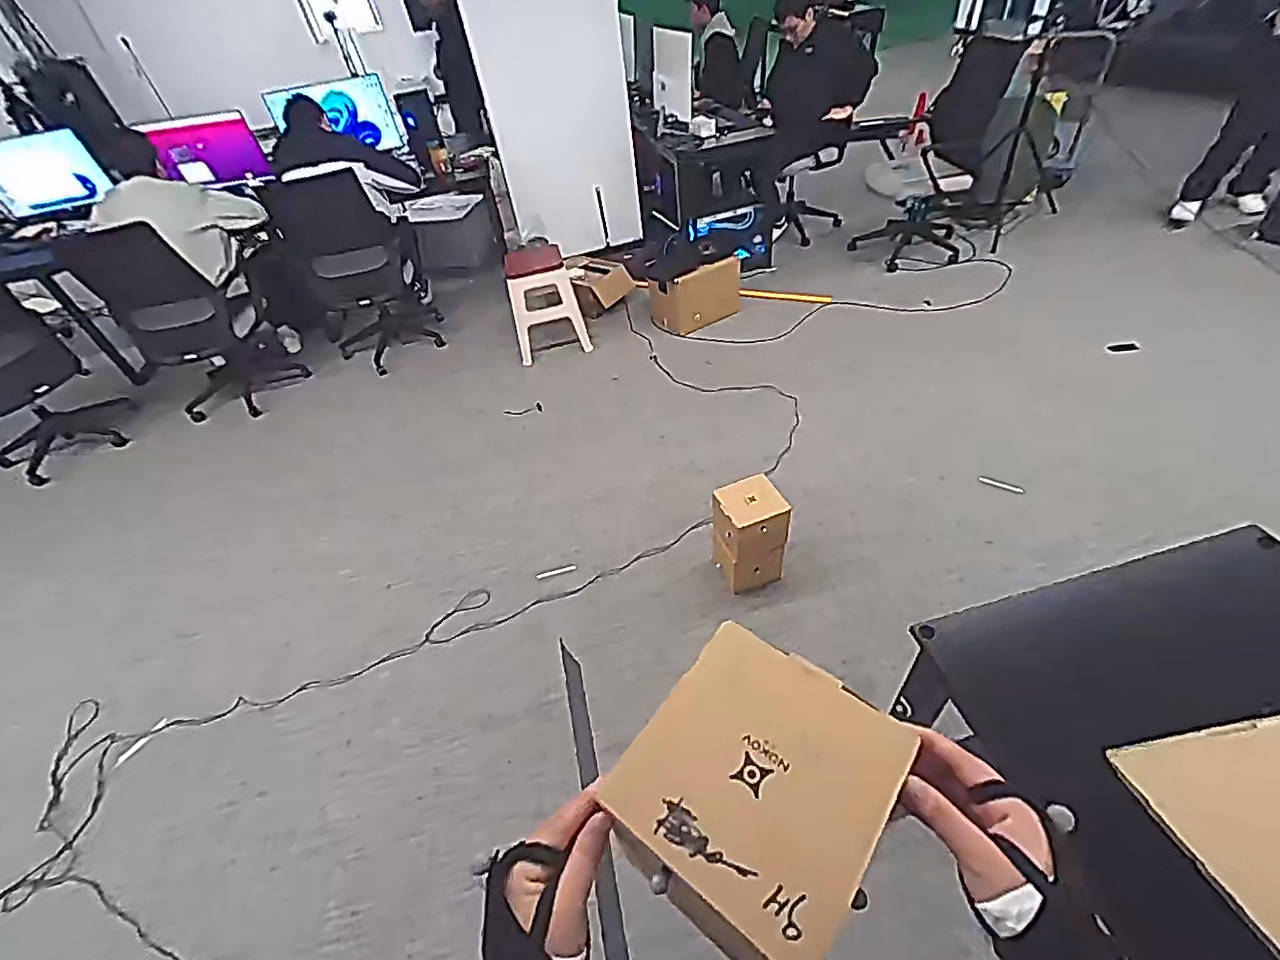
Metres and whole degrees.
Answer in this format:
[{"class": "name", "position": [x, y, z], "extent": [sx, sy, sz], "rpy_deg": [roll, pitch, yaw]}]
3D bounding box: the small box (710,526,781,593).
[{"class": "small box", "position": [0.340, 0.237, 1.760], "extent": [0.179, 0.176, 0.168], "rpy_deg": [-18, 44, -8]}]

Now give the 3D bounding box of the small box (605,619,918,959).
[{"class": "small box", "position": [0.095, 0.258, 0.442], "extent": [0.168, 0.176, 0.179], "rpy_deg": [25, 52, 32]}]

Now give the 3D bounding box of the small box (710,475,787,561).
[{"class": "small box", "position": [0.327, 0.120, 1.648], "extent": [0.179, 0.176, 0.168], "rpy_deg": [-19, 45, -10]}]
